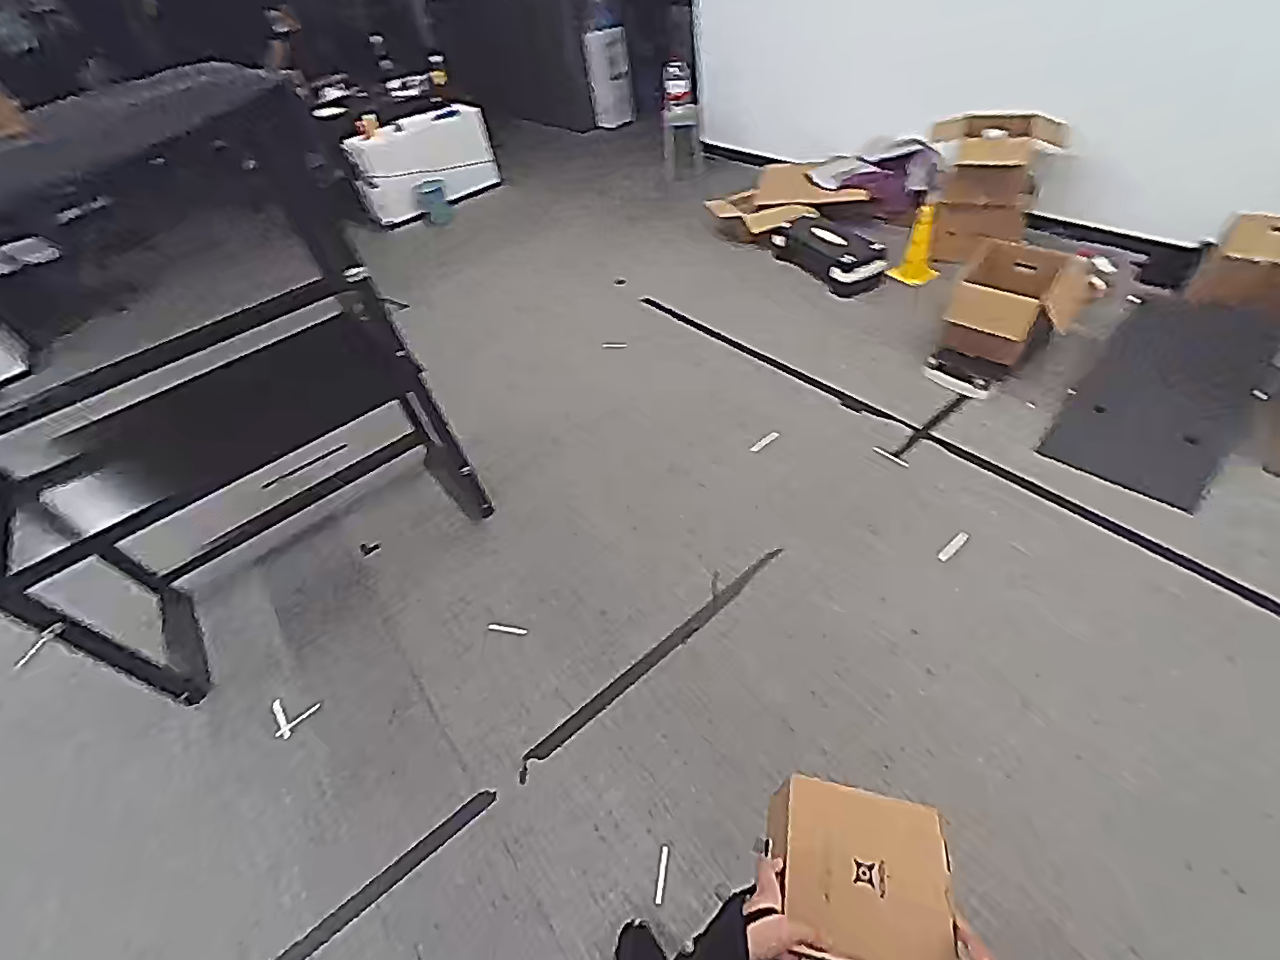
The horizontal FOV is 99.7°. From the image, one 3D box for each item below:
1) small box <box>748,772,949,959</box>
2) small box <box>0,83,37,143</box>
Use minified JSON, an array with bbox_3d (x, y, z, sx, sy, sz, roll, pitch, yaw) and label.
[{"bbox_3d":[0.235,0.474,0.645,0.179,0.176,0.168,9,50,8],"label":"small box"},{"bbox_3d":[-1.410,-0.791,1.109,0.168,0.176,0.179,-40,53,-24],"label":"small box"}]
